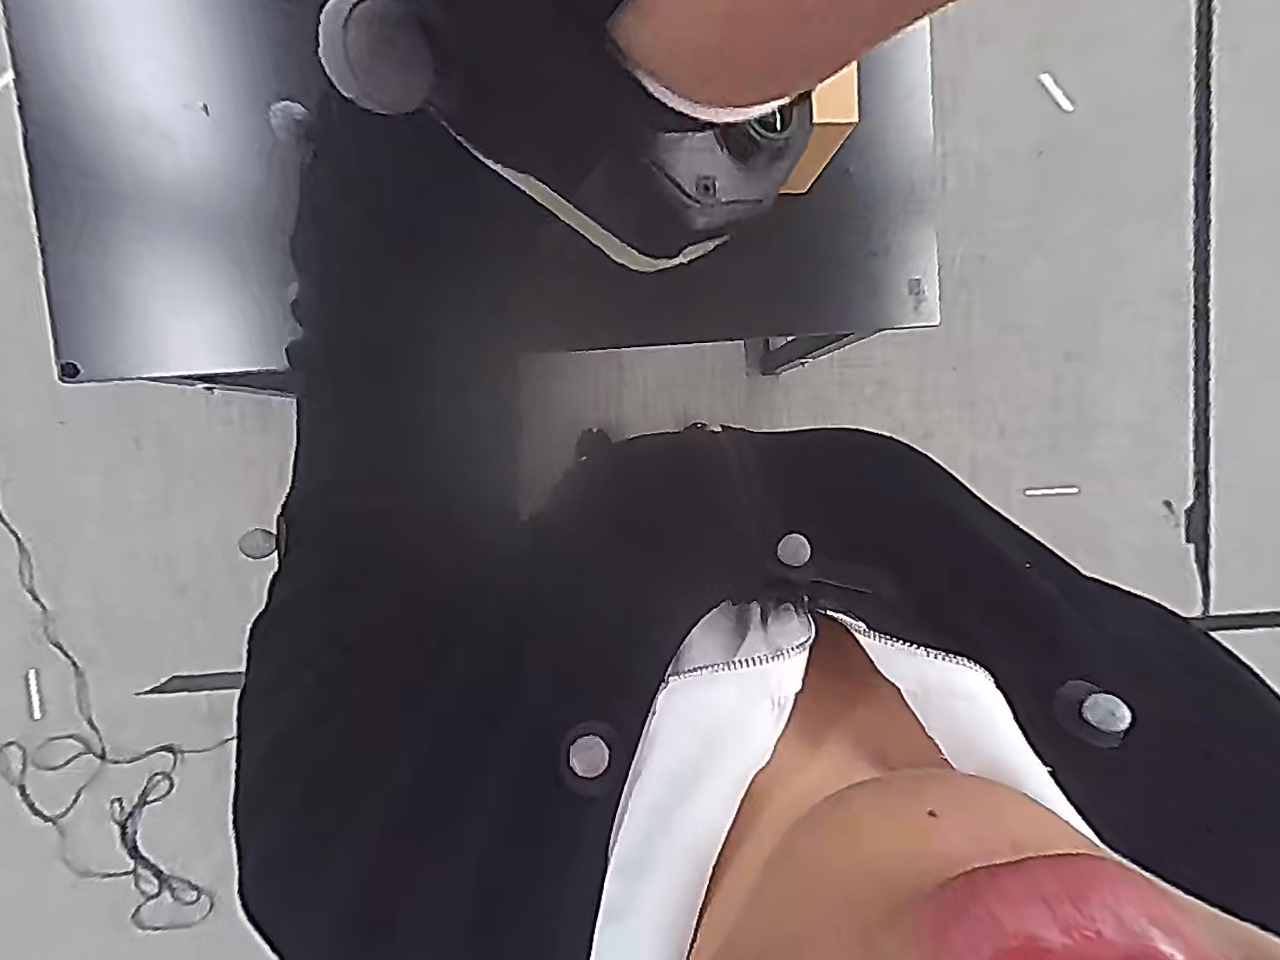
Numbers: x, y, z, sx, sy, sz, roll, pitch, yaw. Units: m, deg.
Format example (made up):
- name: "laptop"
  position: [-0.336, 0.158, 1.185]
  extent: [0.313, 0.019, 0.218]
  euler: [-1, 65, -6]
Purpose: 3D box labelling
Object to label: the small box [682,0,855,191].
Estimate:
- name: "small box"
  position: [0.145, -0.475, 0.665]
  extent: [0.179, 0.176, 0.168]
  euler: [-2, 94, -2]
